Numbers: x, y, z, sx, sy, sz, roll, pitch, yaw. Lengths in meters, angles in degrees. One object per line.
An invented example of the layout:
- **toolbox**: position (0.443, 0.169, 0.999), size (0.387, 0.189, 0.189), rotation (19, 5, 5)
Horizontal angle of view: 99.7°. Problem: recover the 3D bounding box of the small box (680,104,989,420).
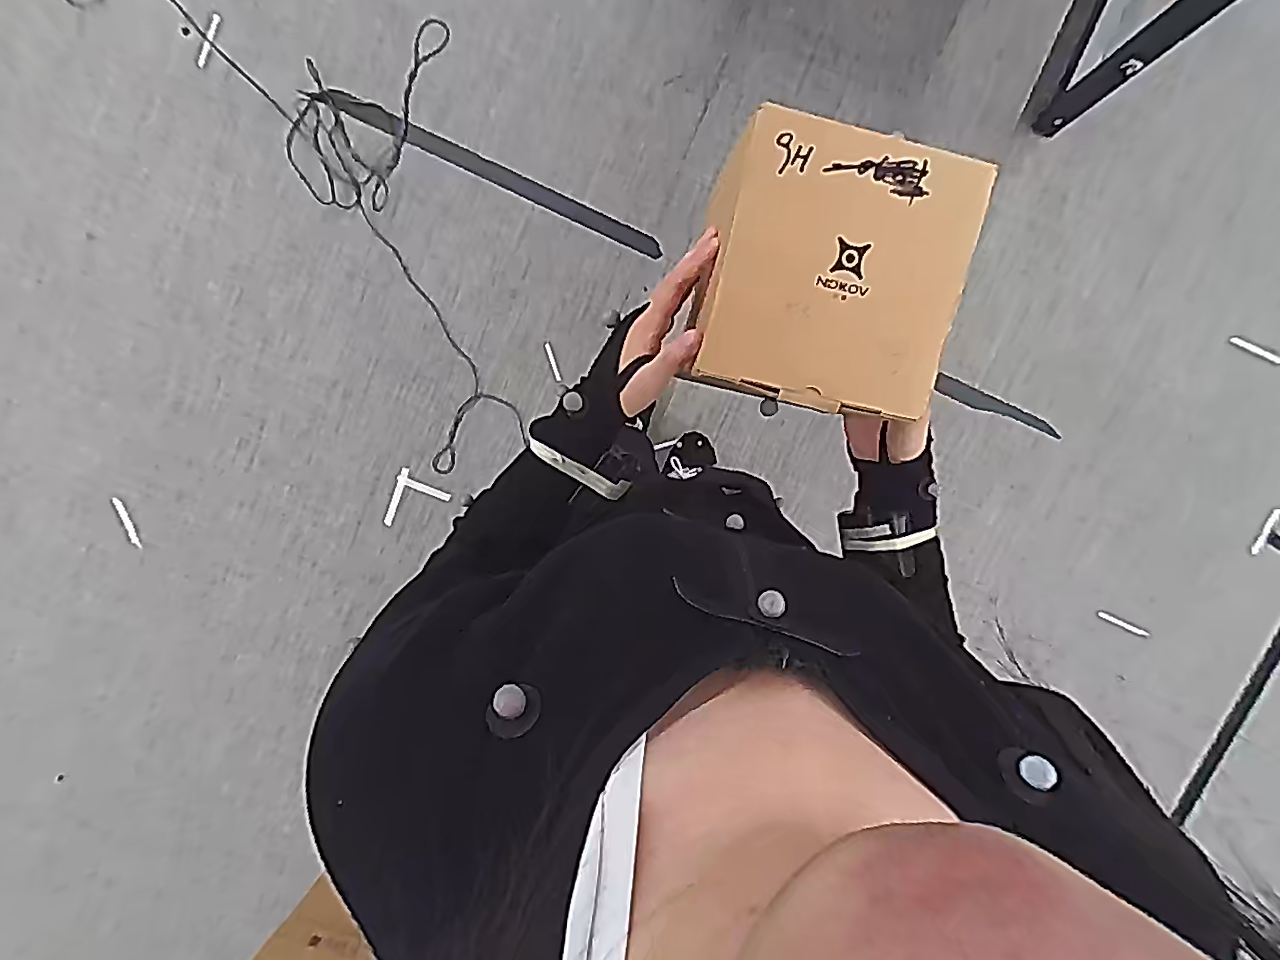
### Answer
- **small box**: position (0.134, -0.158, 0.447), size (0.168, 0.176, 0.179), rotation (12, 100, -5)
